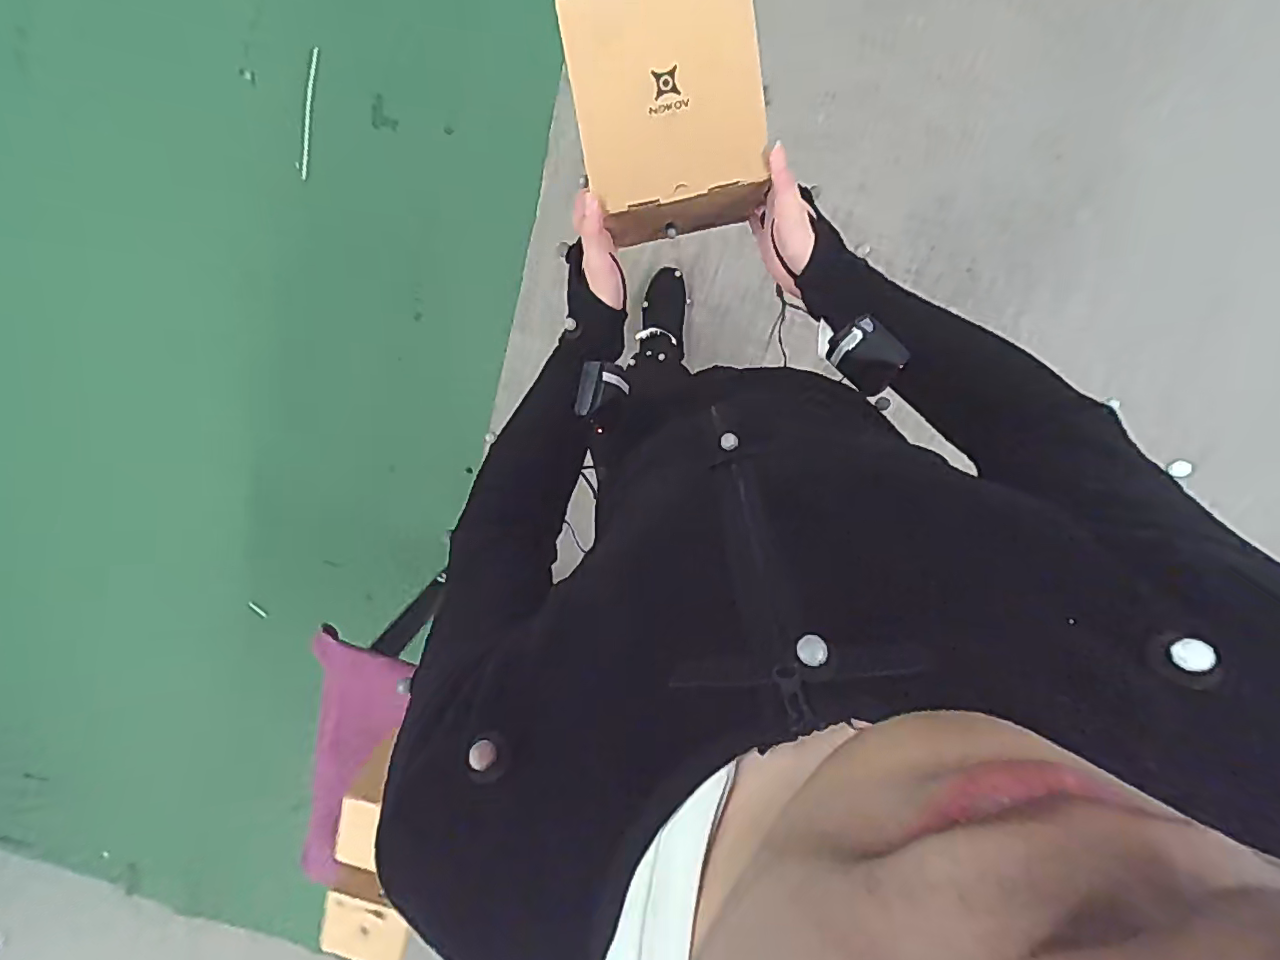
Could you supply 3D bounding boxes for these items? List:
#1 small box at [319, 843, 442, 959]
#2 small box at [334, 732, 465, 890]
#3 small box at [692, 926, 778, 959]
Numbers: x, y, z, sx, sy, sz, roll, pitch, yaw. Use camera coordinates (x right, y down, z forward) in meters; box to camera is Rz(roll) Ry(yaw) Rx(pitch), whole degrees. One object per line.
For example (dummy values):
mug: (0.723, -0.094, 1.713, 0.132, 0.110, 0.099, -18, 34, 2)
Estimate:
small box: (-0.535, 0.872, 1.132, 0.168, 0.176, 0.179, 16, 107, 0)
small box: (-0.459, 0.634, 1.051, 0.168, 0.176, 0.179, 18, 109, -1)
small box: (0.195, 1.085, 1.122, 0.168, 0.176, 0.179, 16, 108, 1)
